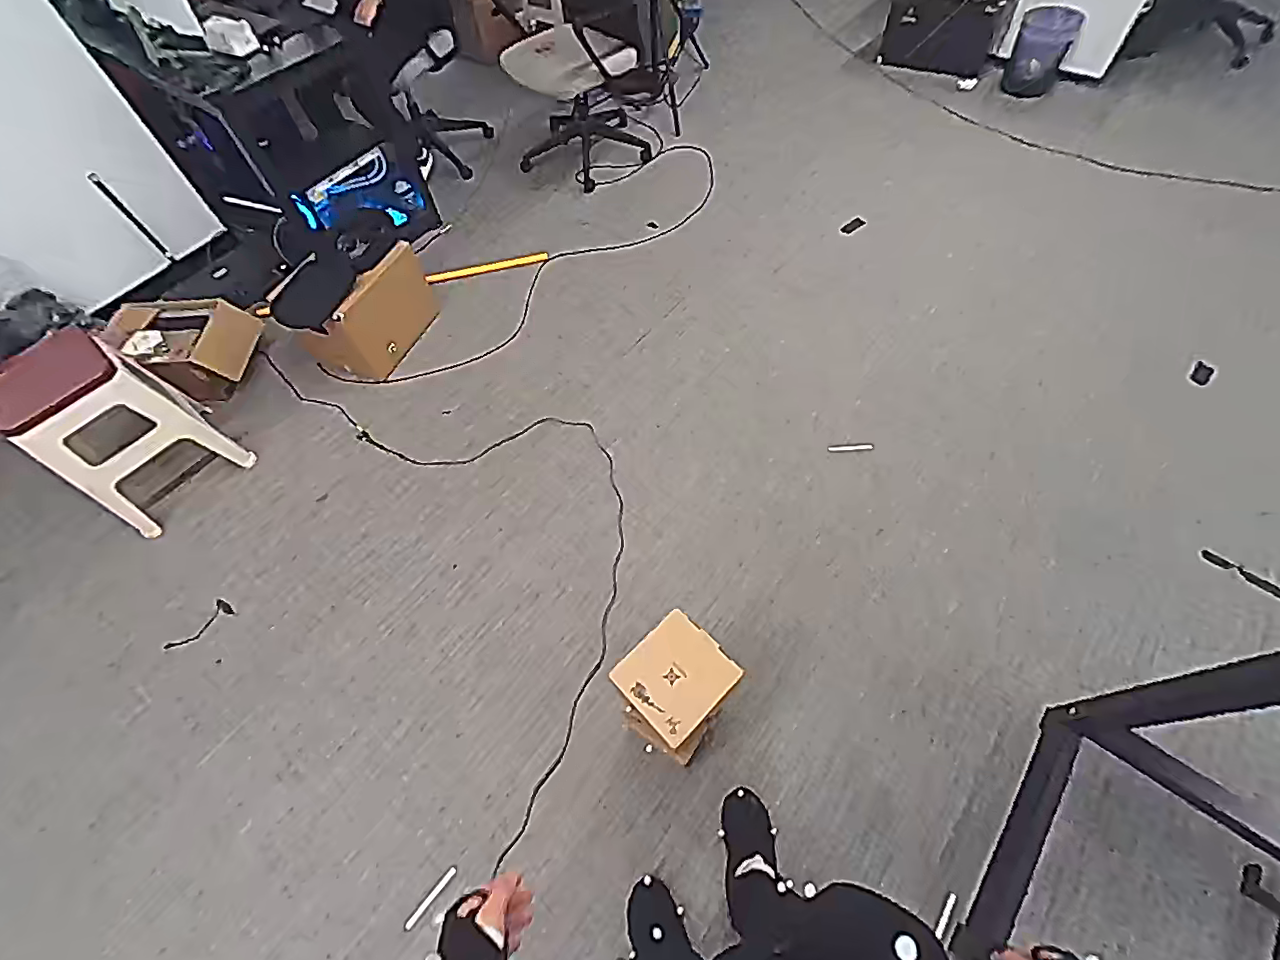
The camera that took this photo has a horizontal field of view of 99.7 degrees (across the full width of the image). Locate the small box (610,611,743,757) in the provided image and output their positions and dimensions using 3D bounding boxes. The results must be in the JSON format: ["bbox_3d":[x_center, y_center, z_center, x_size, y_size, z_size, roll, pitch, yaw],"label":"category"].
[{"bbox_3d":[0.063,0.379,0.997,0.179,0.176,0.168,-40,65,-20],"label":"small box"}]

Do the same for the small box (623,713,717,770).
[{"bbox_3d":[0.078,0.552,1.273,0.168,0.176,0.179,30,66,20],"label":"small box"}]

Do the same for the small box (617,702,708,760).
[{"bbox_3d":[0.071,0.463,1.137,0.168,0.176,0.179,27,63,18],"label":"small box"}]
